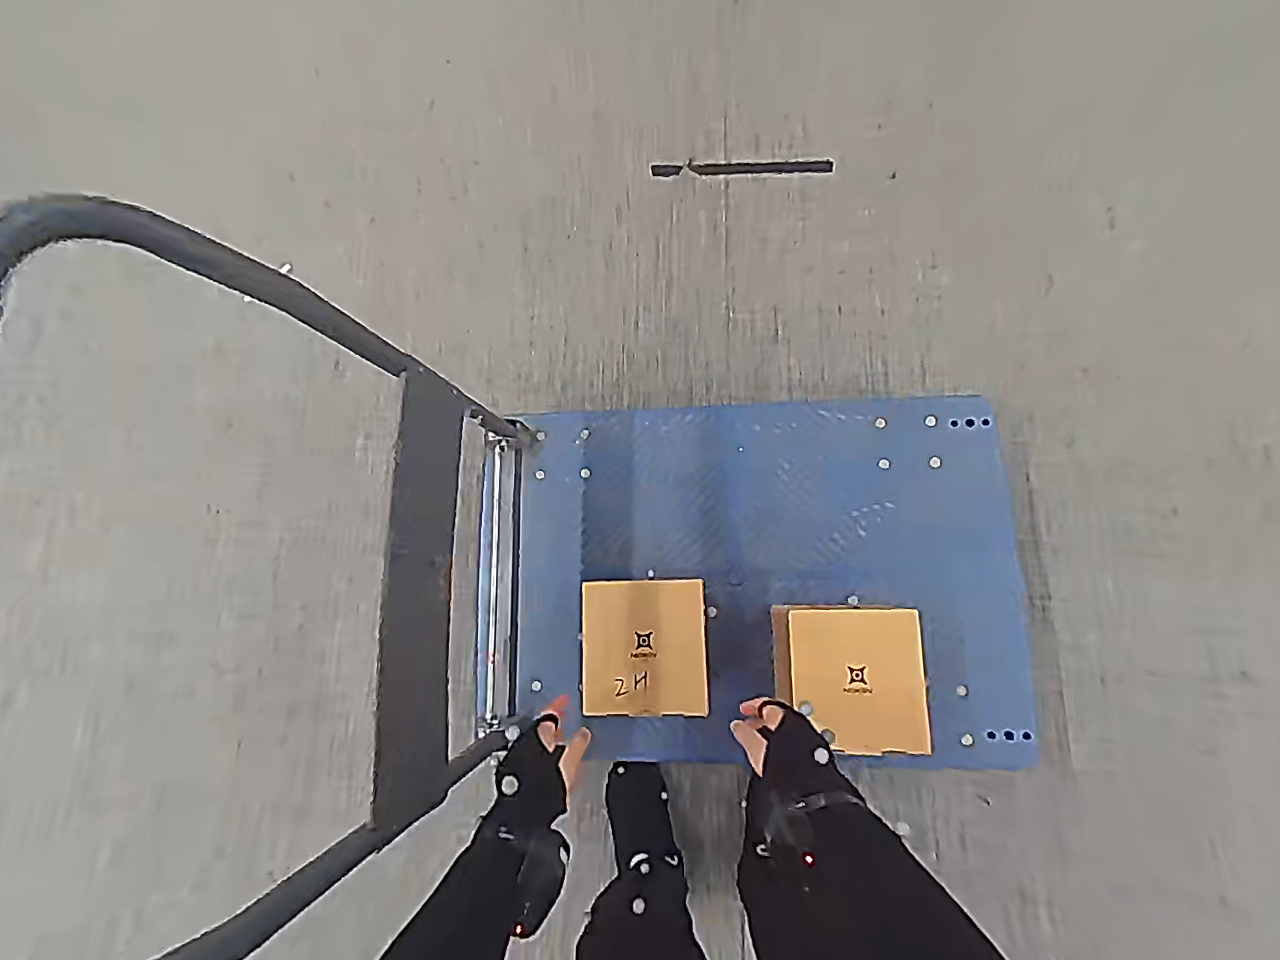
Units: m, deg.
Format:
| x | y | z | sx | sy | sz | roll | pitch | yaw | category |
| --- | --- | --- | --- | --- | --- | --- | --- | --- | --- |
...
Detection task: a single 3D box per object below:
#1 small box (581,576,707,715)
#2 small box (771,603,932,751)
| x | y | z | sx | sy | sz | roll | pitch | yaw | category |
| --- | --- | --- | --- | --- | --- | --- | --- | --- | --- |
| 0.011 | 0.233 | 0.792 | 0.168 | 0.176 | 0.179 | -2 | 80 | 6 | small box |
| 0.281 | 0.263 | 0.759 | 0.168 | 0.176 | 0.179 | -2 | 80 | 6 | small box |
